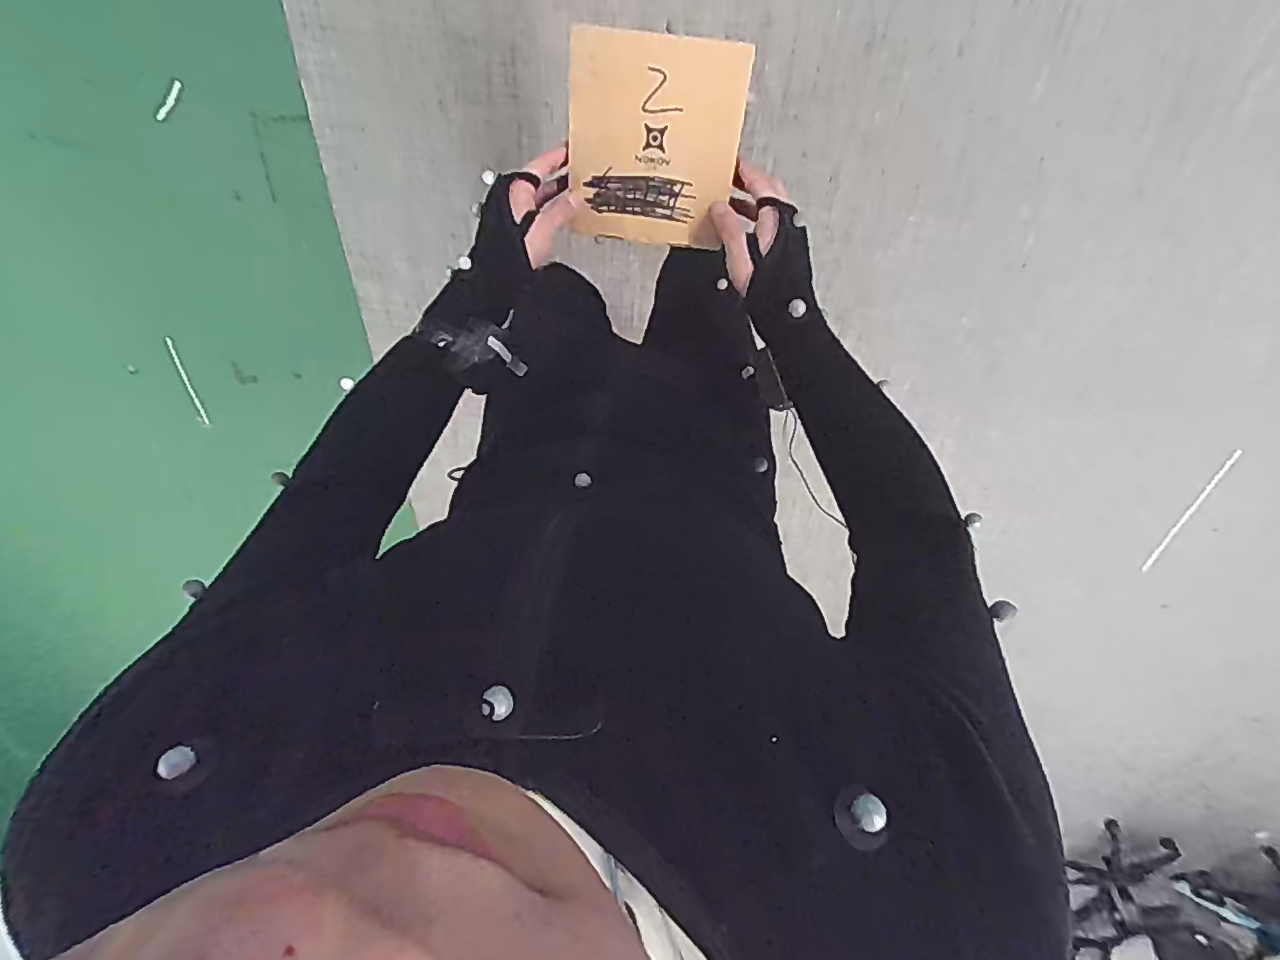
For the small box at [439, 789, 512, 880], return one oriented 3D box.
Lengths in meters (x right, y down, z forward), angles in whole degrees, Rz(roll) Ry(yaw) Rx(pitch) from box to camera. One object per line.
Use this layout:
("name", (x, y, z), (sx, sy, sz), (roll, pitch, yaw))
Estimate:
("small box", (-0.483, 1.043, 1.597), (0.168, 0.176, 0.179), (13, 126, -3))
